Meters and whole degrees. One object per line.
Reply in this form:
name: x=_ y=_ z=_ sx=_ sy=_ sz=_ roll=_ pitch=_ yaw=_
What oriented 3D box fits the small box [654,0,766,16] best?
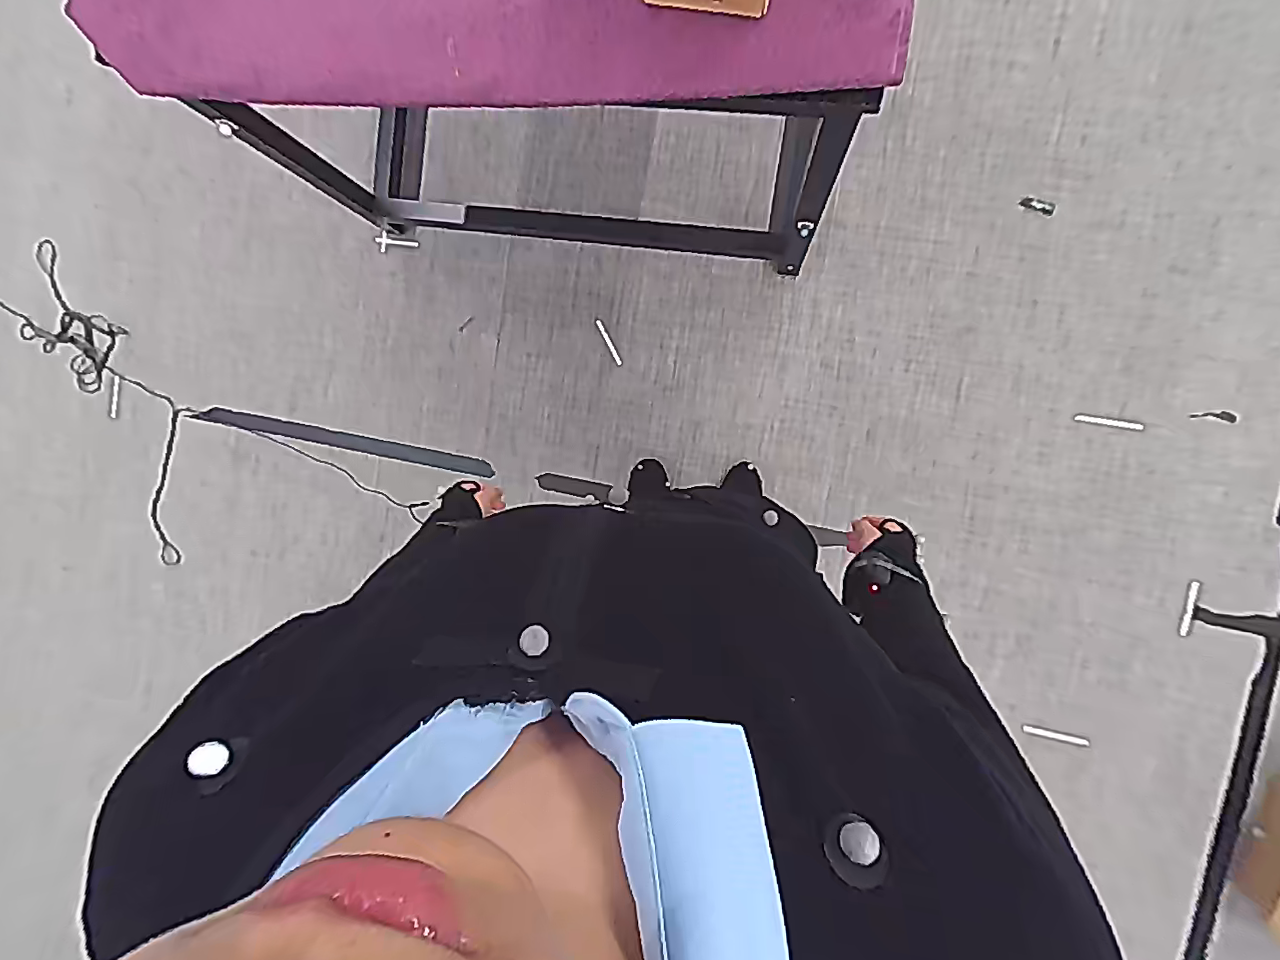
small box: x=0.091 y=-0.705 z=0.629 sx=0.168 sy=0.176 sz=0.179 roll=14 pitch=94 yaw=8

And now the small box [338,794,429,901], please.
small box: x=-0.722 y=1.037 z=1.542 sx=0.168 sy=0.176 sz=0.179 roll=8 pitch=94 yaw=8
